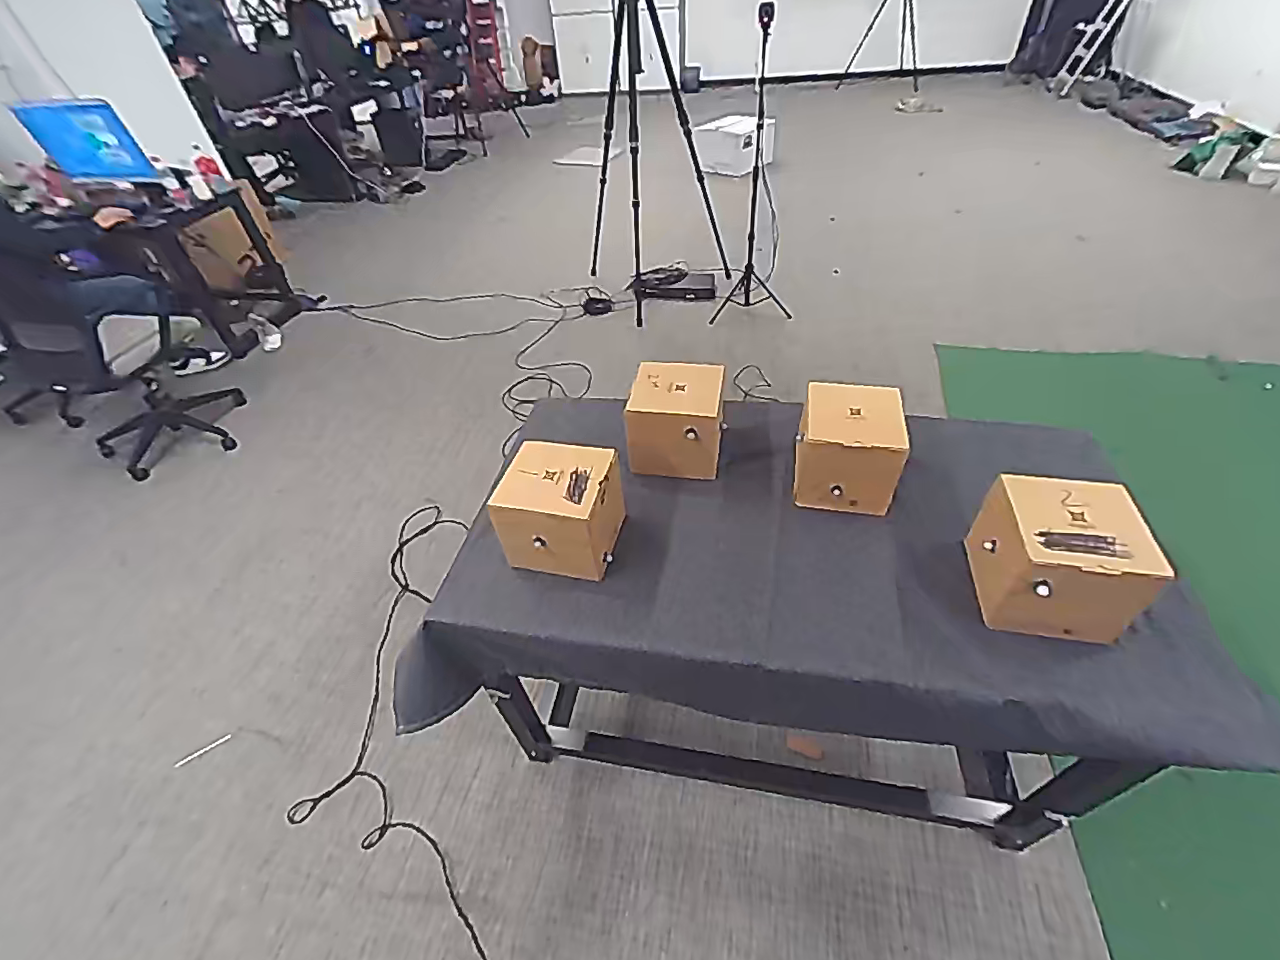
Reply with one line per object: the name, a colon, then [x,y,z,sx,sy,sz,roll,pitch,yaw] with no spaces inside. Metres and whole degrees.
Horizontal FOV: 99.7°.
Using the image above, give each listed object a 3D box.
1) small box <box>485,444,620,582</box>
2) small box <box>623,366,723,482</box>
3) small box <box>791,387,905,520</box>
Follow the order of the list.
small box: [-0.141,0.060,0.955,0.179,0.176,0.168,7,45,13]
small box: [0.073,-0.112,1.108,0.179,0.176,0.168,5,46,11]
small box: [0.383,-0.051,1.024,0.168,0.176,0.179,7,46,11]
